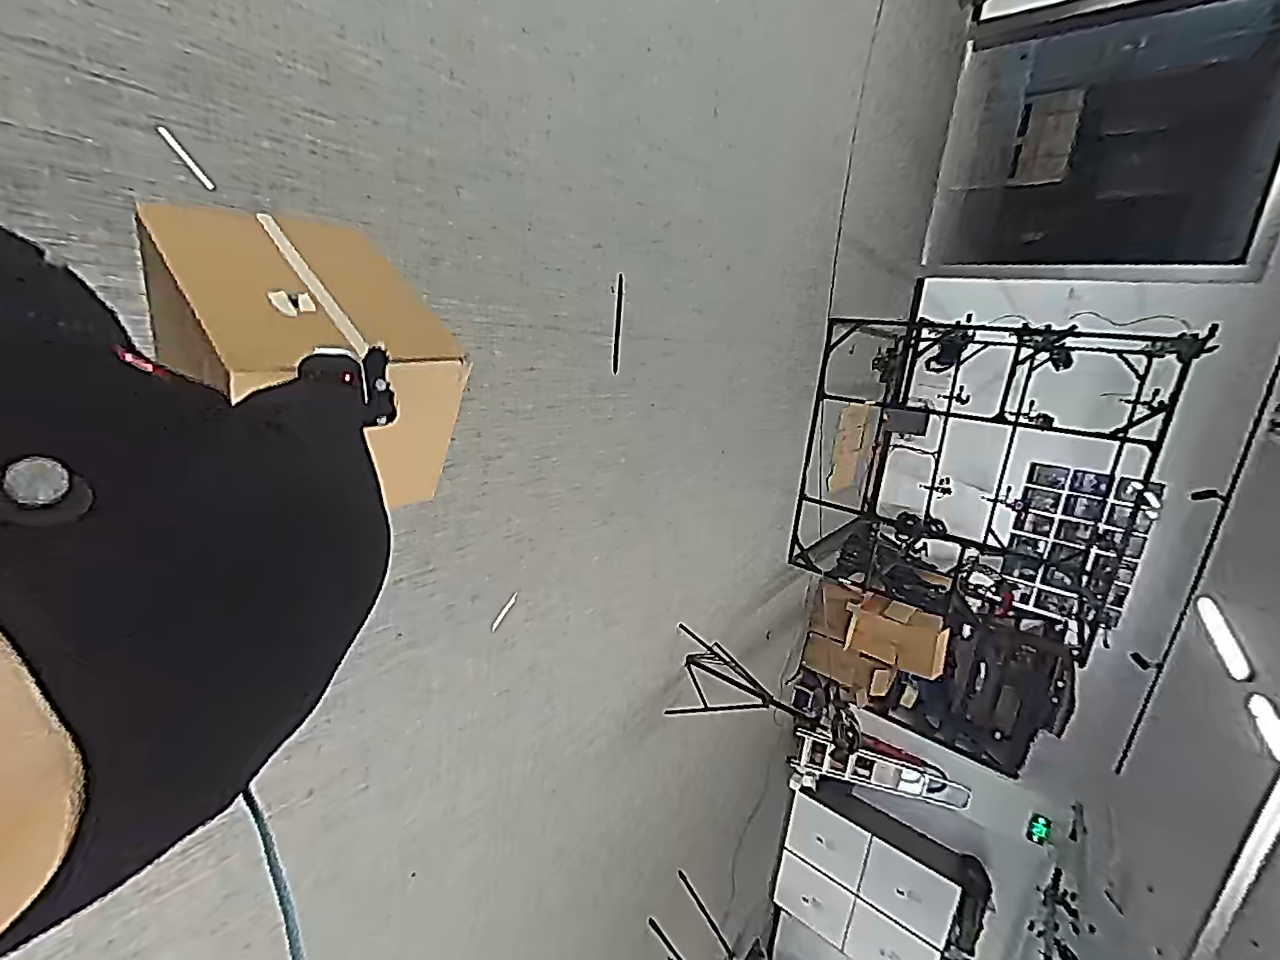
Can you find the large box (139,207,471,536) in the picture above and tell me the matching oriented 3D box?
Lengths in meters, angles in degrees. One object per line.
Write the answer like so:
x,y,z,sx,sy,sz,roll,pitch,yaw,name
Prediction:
-0.553,-0.182,0.895,0.320,0.408,0.320,-19,149,-46,large box
